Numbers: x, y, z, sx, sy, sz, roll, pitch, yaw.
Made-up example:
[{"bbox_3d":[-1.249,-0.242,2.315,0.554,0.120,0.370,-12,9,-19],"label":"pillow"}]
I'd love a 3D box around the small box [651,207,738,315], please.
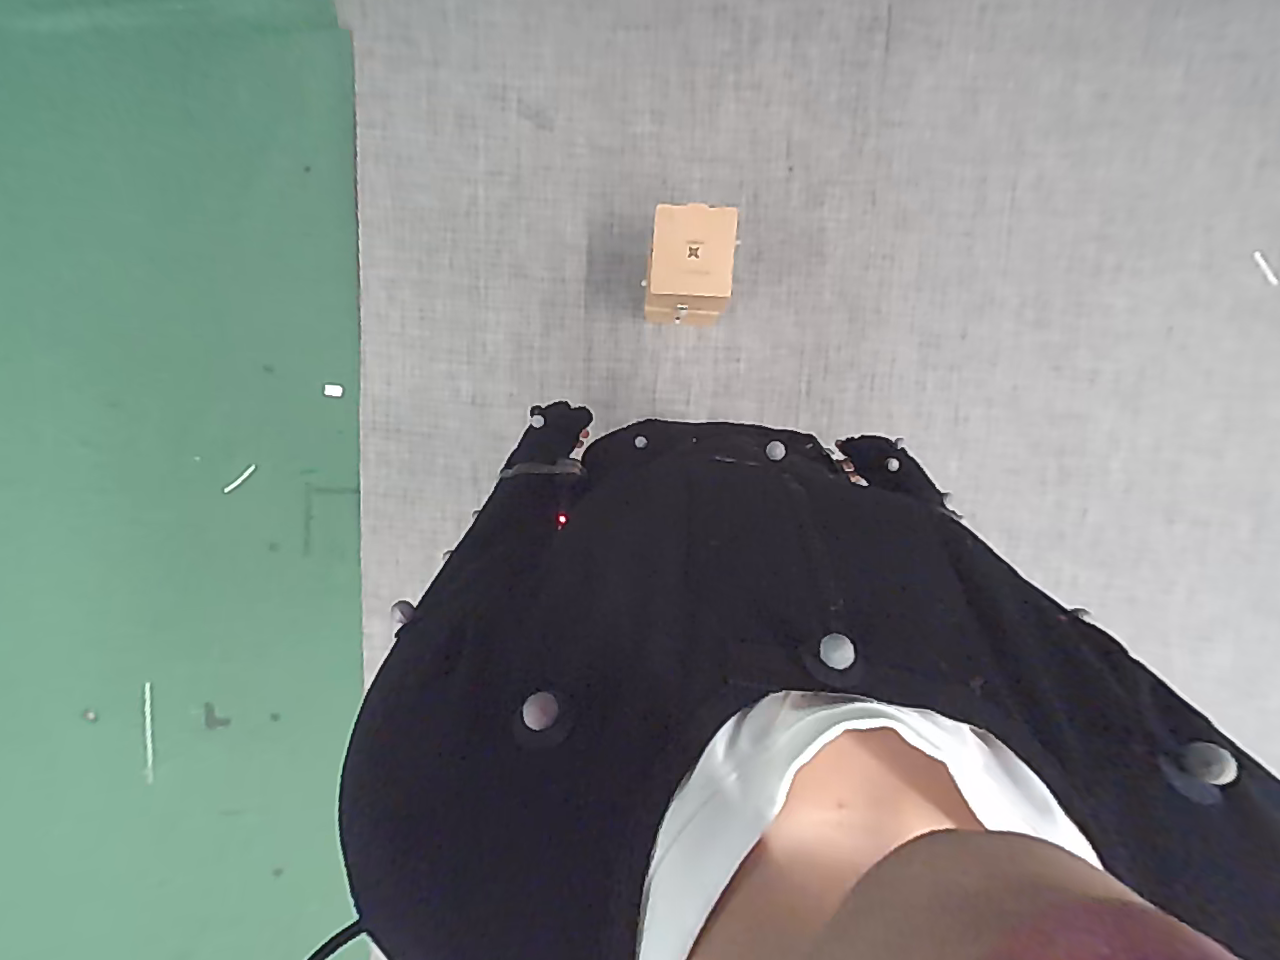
[{"bbox_3d":[0.113,-0.466,1.172,0.168,0.176,0.179,4,97,4],"label":"small box"}]

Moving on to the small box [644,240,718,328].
[{"bbox_3d":[0.106,-0.475,1.333,0.179,0.176,0.168,4,96,3],"label":"small box"}]
